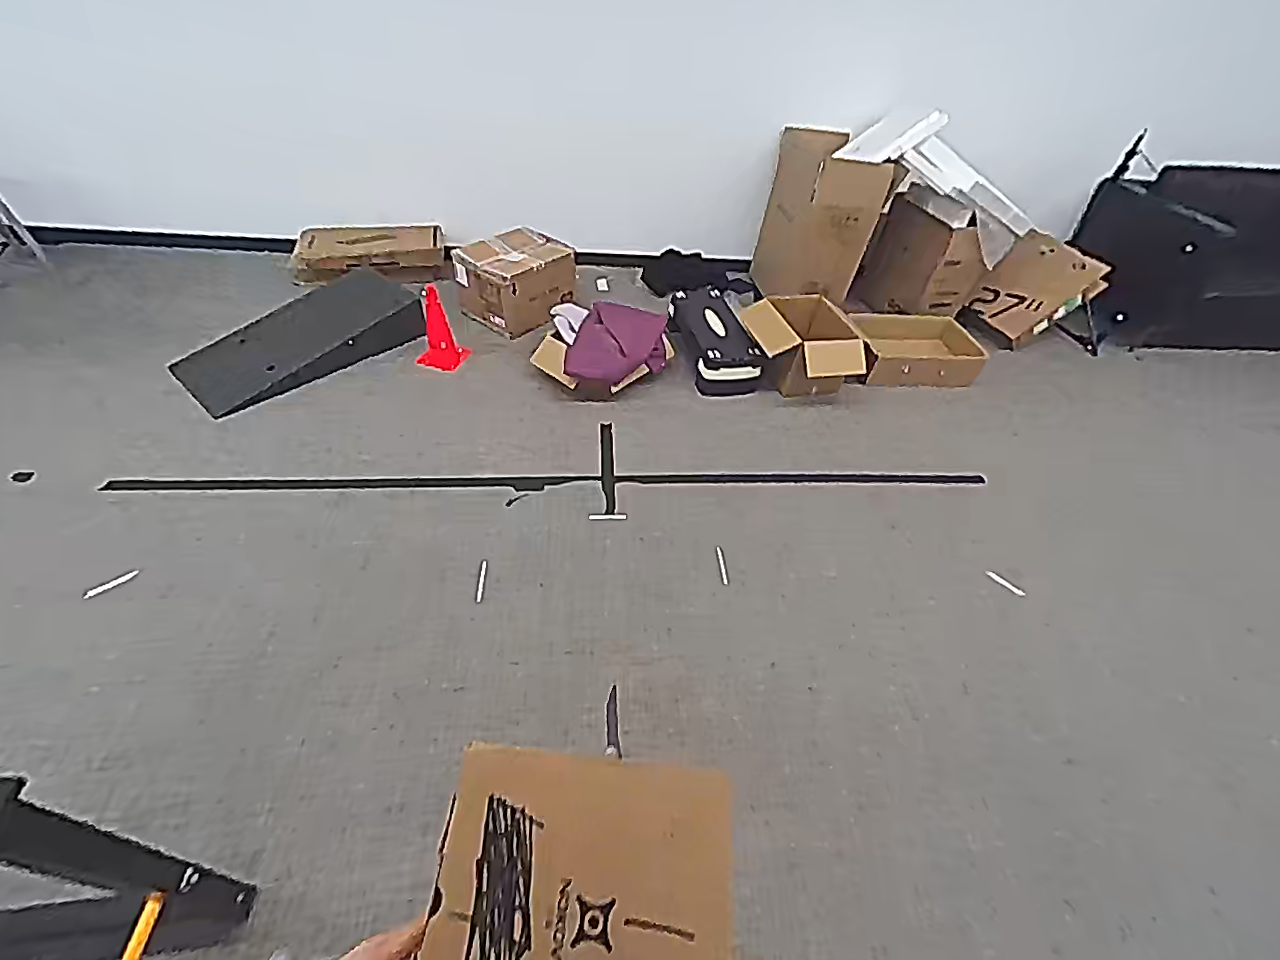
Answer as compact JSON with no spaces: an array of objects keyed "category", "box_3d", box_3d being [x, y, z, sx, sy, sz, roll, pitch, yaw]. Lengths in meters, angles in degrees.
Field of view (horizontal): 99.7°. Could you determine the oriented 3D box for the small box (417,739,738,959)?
[{"category":"small box","box_3d":[-0.035,0.288,0.370,0.179,0.176,0.168,7,57,-1]}]
